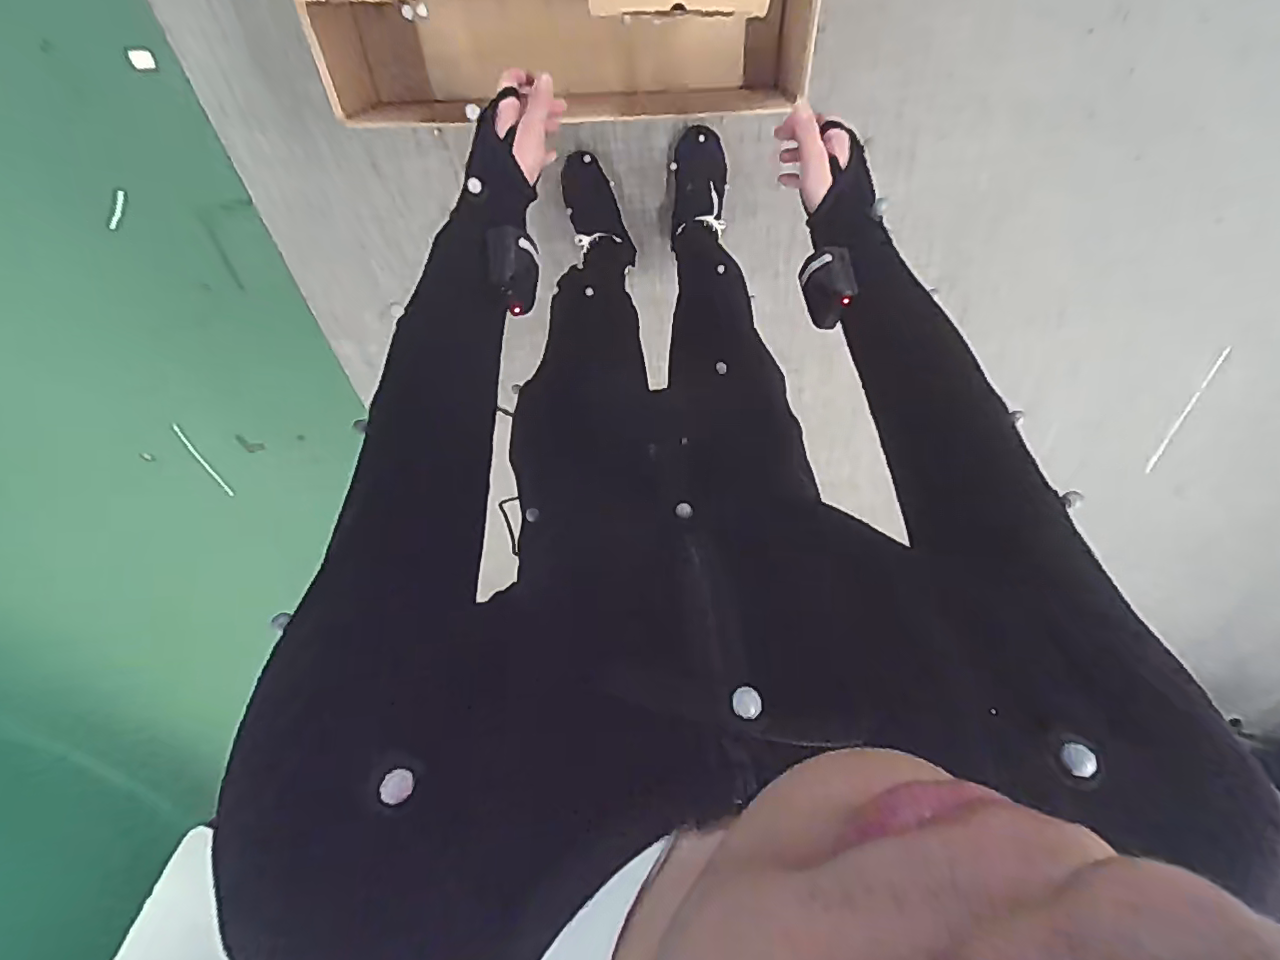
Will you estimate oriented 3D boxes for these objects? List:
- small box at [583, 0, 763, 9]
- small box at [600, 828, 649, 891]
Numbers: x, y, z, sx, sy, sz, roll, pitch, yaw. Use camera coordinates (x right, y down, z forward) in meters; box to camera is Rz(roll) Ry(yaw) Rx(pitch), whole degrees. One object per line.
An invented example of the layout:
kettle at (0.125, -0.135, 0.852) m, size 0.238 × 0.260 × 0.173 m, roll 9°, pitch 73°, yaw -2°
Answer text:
small box at (0.032, -0.538, 0.480) m, size 0.168 × 0.176 × 0.179 m, roll 0°, pitch 132°, yaw 0°
small box at (-0.054, 1.465, 2.089) m, size 0.168 × 0.176 × 0.179 m, roll -6°, pitch 131°, yaw 6°
